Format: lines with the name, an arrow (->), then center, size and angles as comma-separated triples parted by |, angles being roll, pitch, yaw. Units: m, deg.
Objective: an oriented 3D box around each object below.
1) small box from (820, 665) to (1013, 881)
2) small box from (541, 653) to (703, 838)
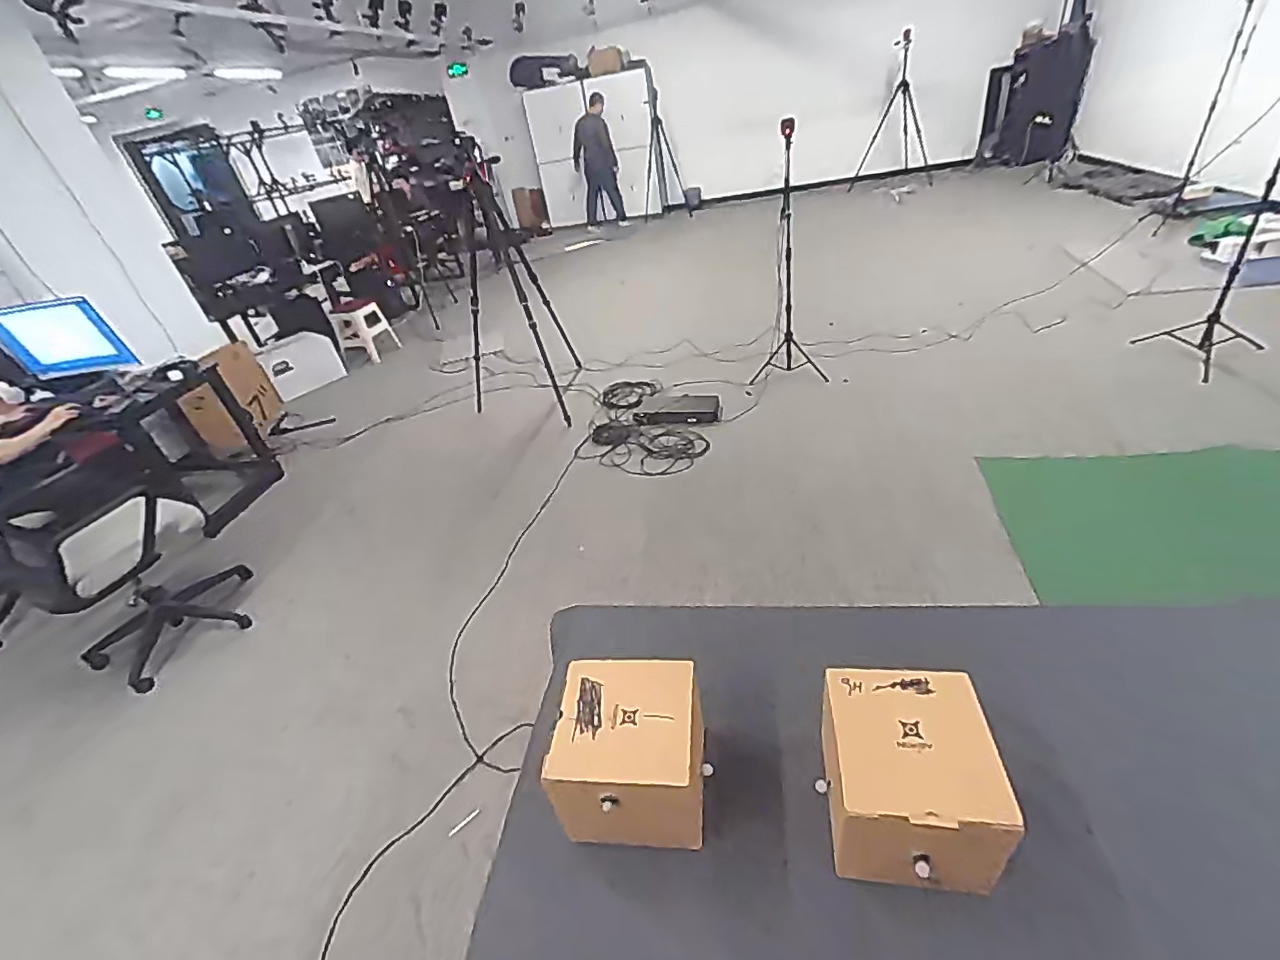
small box -> 0.312, 0.349, 0.652 | 0.168, 0.176, 0.179 | -2, 36, 13
small box -> -0.011, 0.355, 0.727 | 0.179, 0.176, 0.168 | -2, 36, 10
